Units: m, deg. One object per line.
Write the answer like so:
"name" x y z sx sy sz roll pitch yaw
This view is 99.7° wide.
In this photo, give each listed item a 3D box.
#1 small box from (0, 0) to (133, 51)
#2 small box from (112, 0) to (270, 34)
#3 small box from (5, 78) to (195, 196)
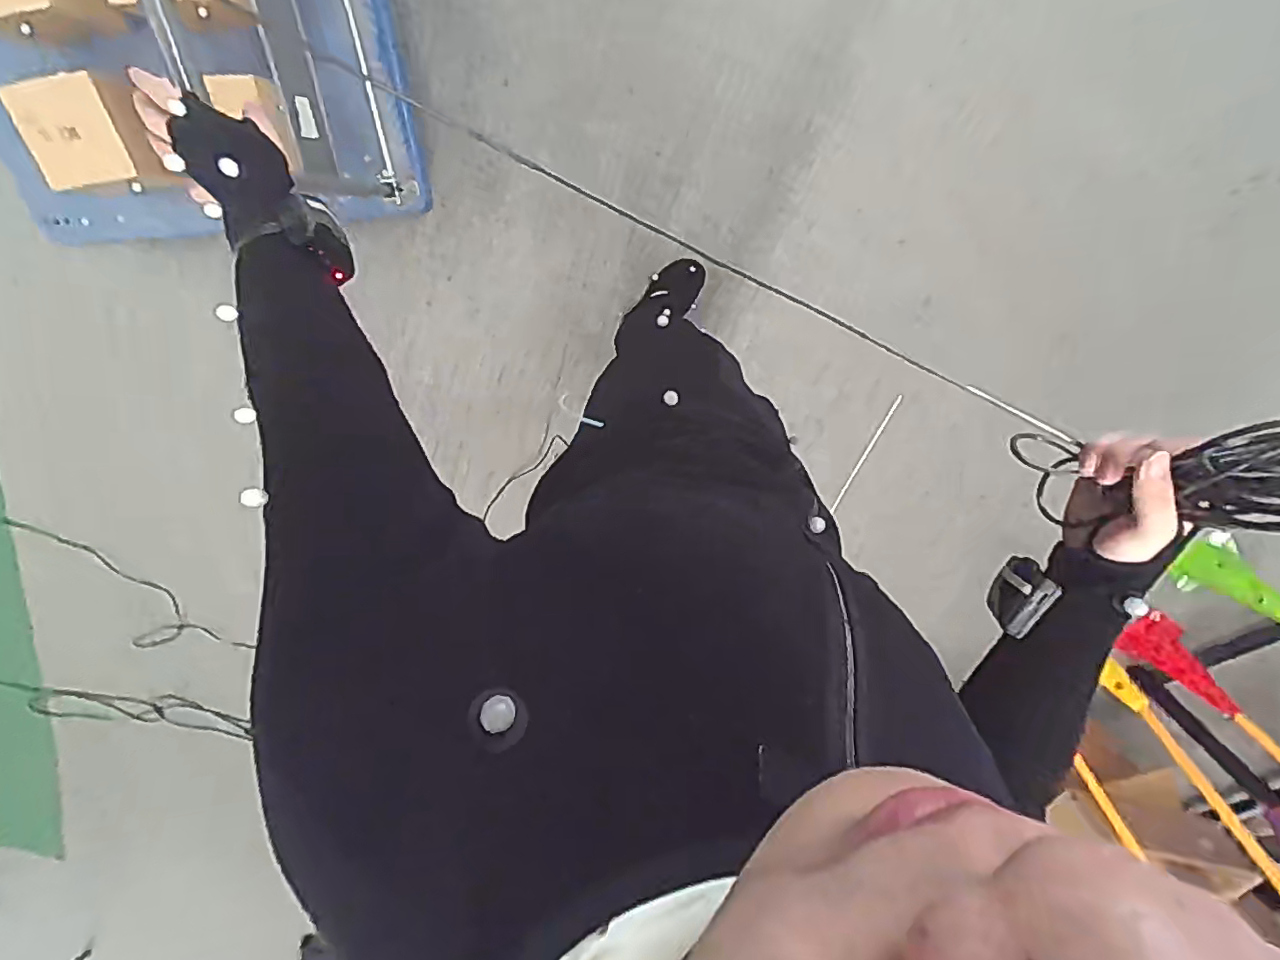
"small box" -1.072 -0.883 0.948 0.179 0.176 0.168 -8 117 3
"small box" -0.802 -0.906 0.942 0.179 0.176 0.168 -4 117 1
"small box" -1.033 -0.662 1.061 0.179 0.176 0.168 -8 116 3
